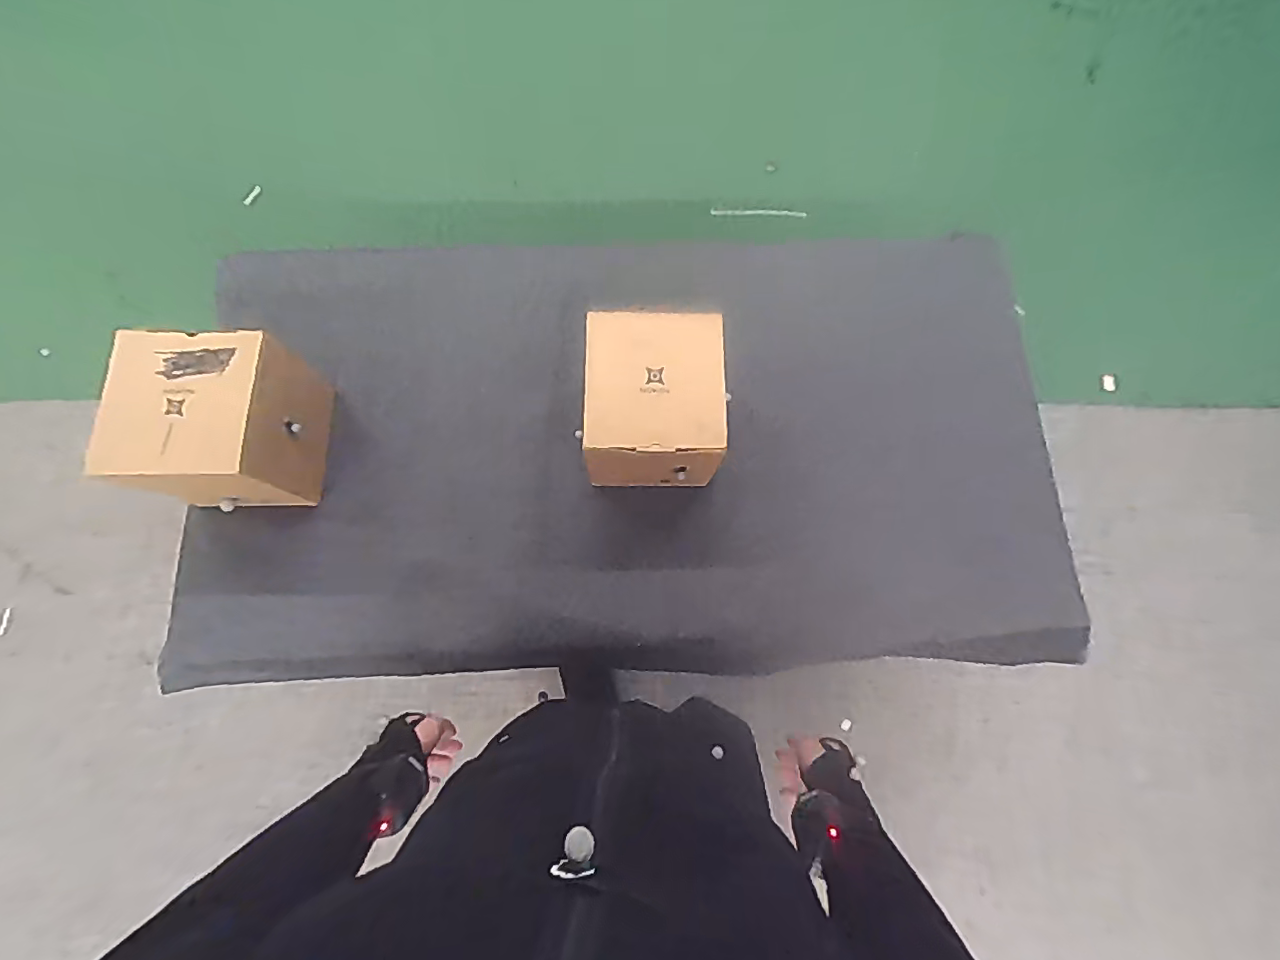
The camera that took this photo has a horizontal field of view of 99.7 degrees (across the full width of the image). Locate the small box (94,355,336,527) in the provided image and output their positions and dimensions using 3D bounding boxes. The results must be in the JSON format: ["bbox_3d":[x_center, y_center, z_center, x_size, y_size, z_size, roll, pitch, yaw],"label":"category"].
[{"bbox_3d":[-0.516,-0.042,0.689,0.168,0.176,0.179,-1,75,-2],"label":"small box"}]

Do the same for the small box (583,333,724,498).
[{"bbox_3d":[0.013,-0.075,0.718,0.168,0.176,0.179,-1,74,-3],"label":"small box"}]
